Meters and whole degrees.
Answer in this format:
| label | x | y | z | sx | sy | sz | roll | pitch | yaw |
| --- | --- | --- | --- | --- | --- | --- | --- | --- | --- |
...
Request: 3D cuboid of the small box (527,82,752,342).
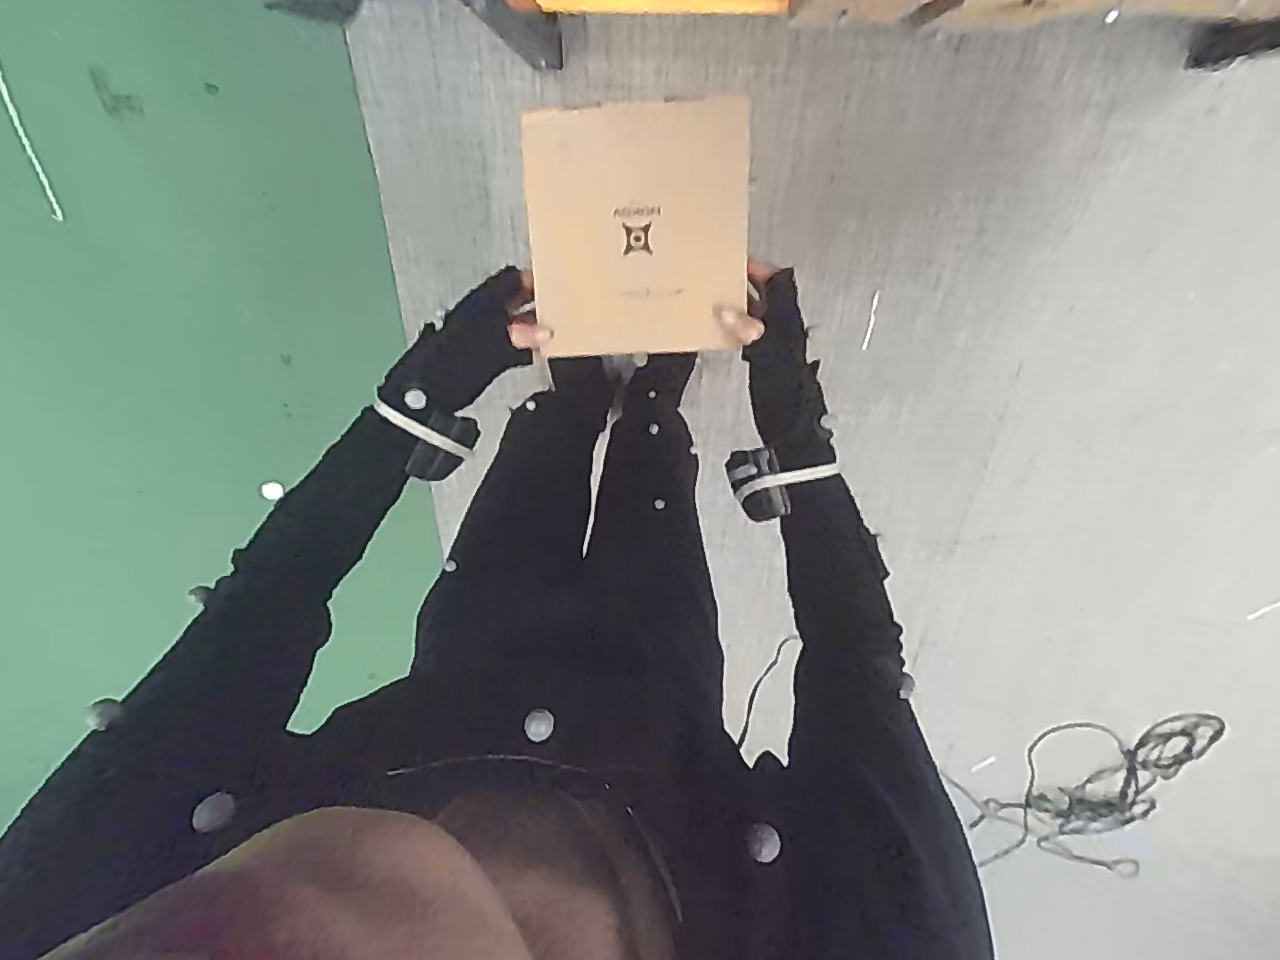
| label | x | y | z | sx | sy | sz | roll | pitch | yaw |
| --- | --- | --- | --- | --- | --- | --- | --- | --- | --- |
| small box | 0.006 | -0.217 | 0.485 | 0.168 | 0.176 | 0.179 | -1 | 106 | 5 |
